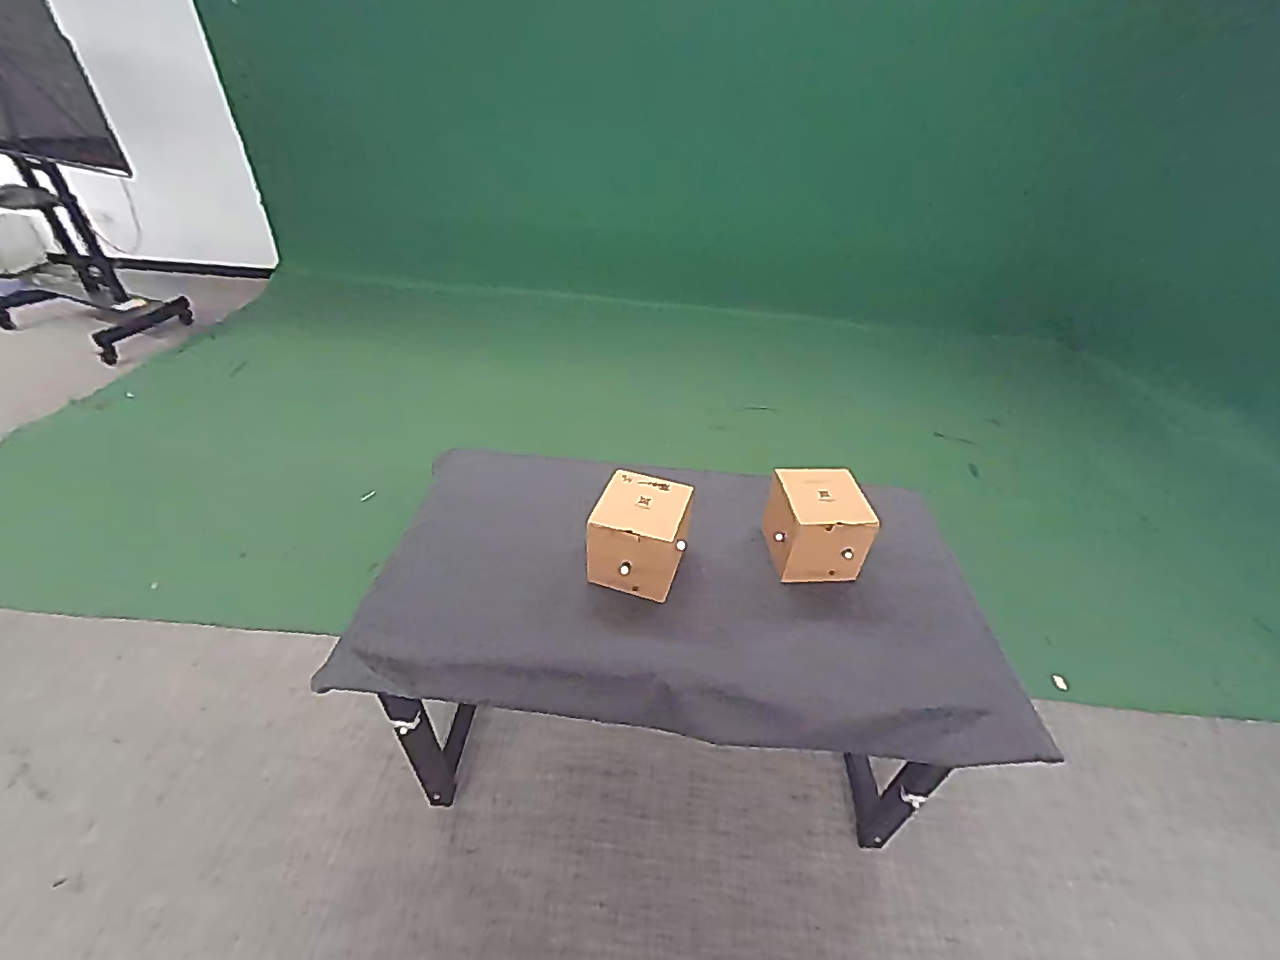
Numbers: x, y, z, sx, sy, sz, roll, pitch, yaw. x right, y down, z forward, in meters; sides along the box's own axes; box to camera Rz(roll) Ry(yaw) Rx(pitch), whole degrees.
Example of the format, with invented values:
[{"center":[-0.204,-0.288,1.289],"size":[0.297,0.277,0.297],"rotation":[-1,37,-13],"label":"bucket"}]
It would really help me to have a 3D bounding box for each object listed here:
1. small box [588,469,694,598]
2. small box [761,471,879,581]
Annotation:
[{"center":[0.003,0.109,1.097],"size":[0.168,0.176,0.179],"rotation":[15,40,11],"label":"small box"},{"center":[0.371,0.100,1.149],"size":[0.168,0.176,0.179],"rotation":[1,38,-7],"label":"small box"}]
